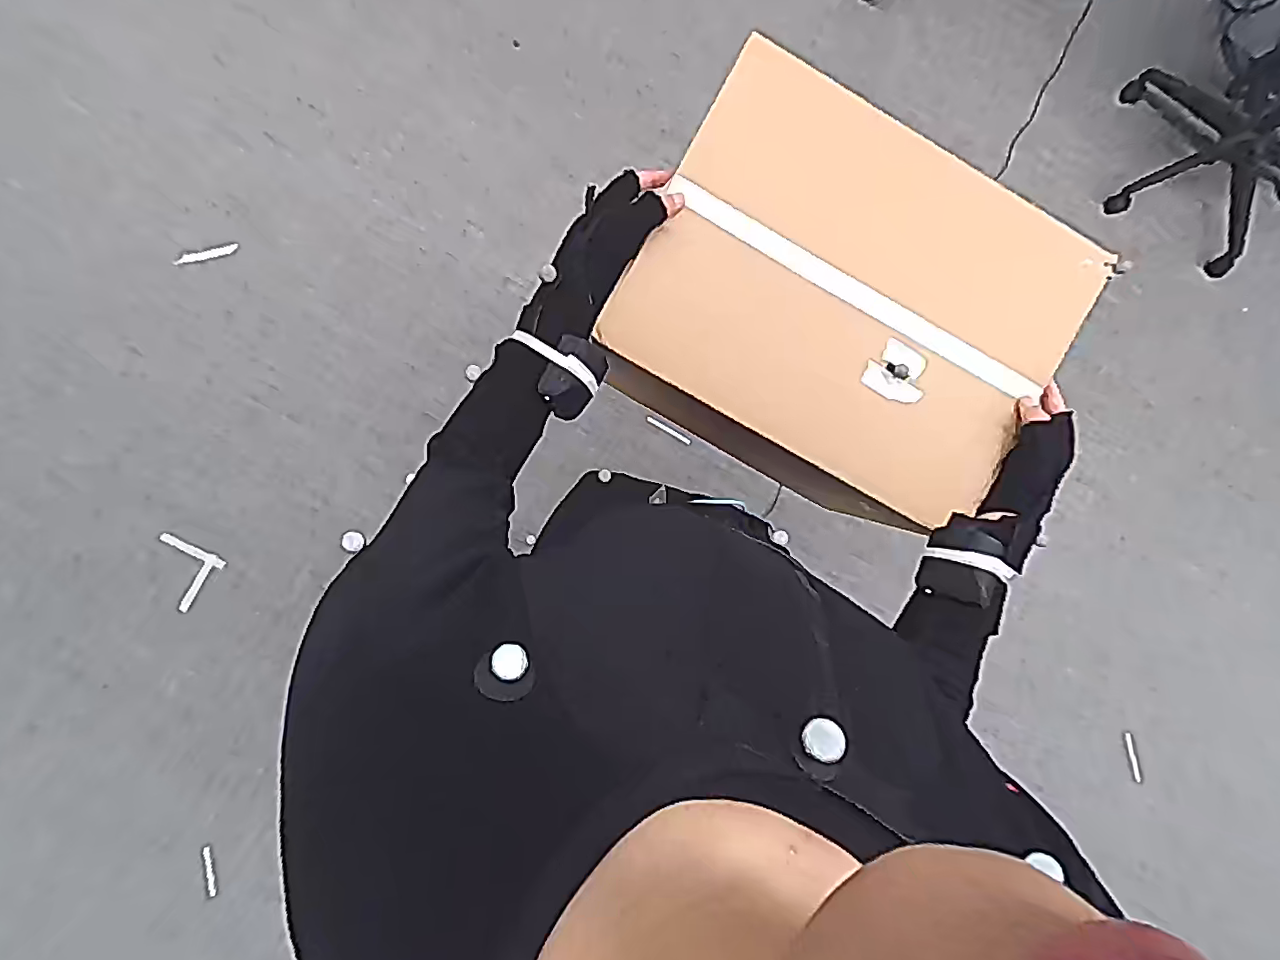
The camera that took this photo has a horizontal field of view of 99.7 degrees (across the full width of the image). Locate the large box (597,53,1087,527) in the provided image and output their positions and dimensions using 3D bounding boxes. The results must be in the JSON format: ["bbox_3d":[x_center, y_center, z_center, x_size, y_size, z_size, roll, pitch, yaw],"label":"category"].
[{"bbox_3d":[0.189,-0.184,0.669,0.408,0.320,0.320,29,92,-5],"label":"large box"}]
